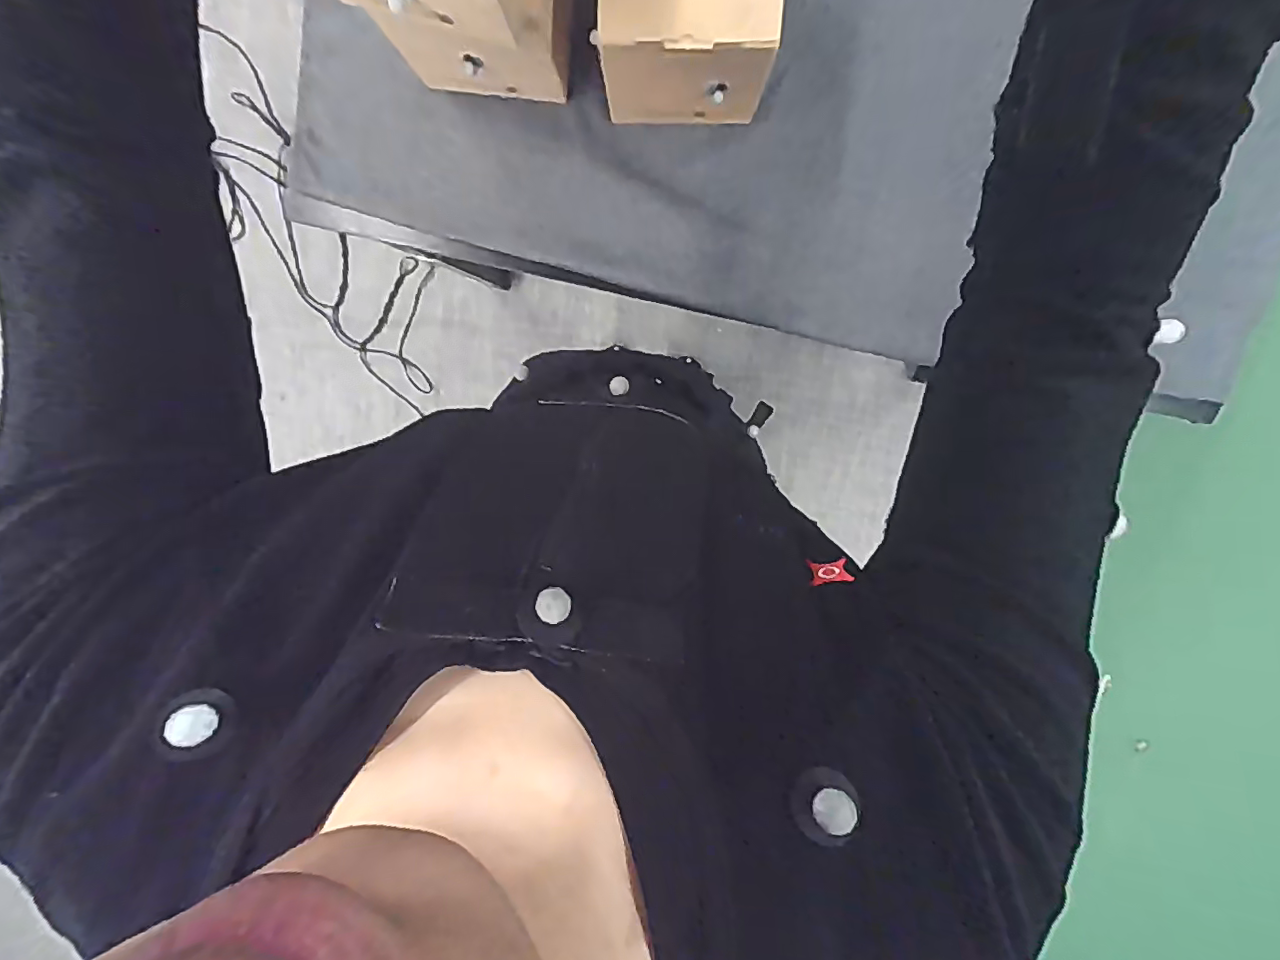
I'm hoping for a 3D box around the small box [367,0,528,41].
[{"bbox_3d":[-0.163,-0.470,0.380,0.168,0.176,0.179,14,103,-2],"label":"small box"}]

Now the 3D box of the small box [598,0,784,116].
[{"bbox_3d":[0.049,-0.492,0.539,0.168,0.176,0.179,1,103,0],"label":"small box"}]

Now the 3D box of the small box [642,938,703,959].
[{"bbox_3d":[0.081,1.458,1.537,0.179,0.176,0.168,11,106,3],"label":"small box"}]
